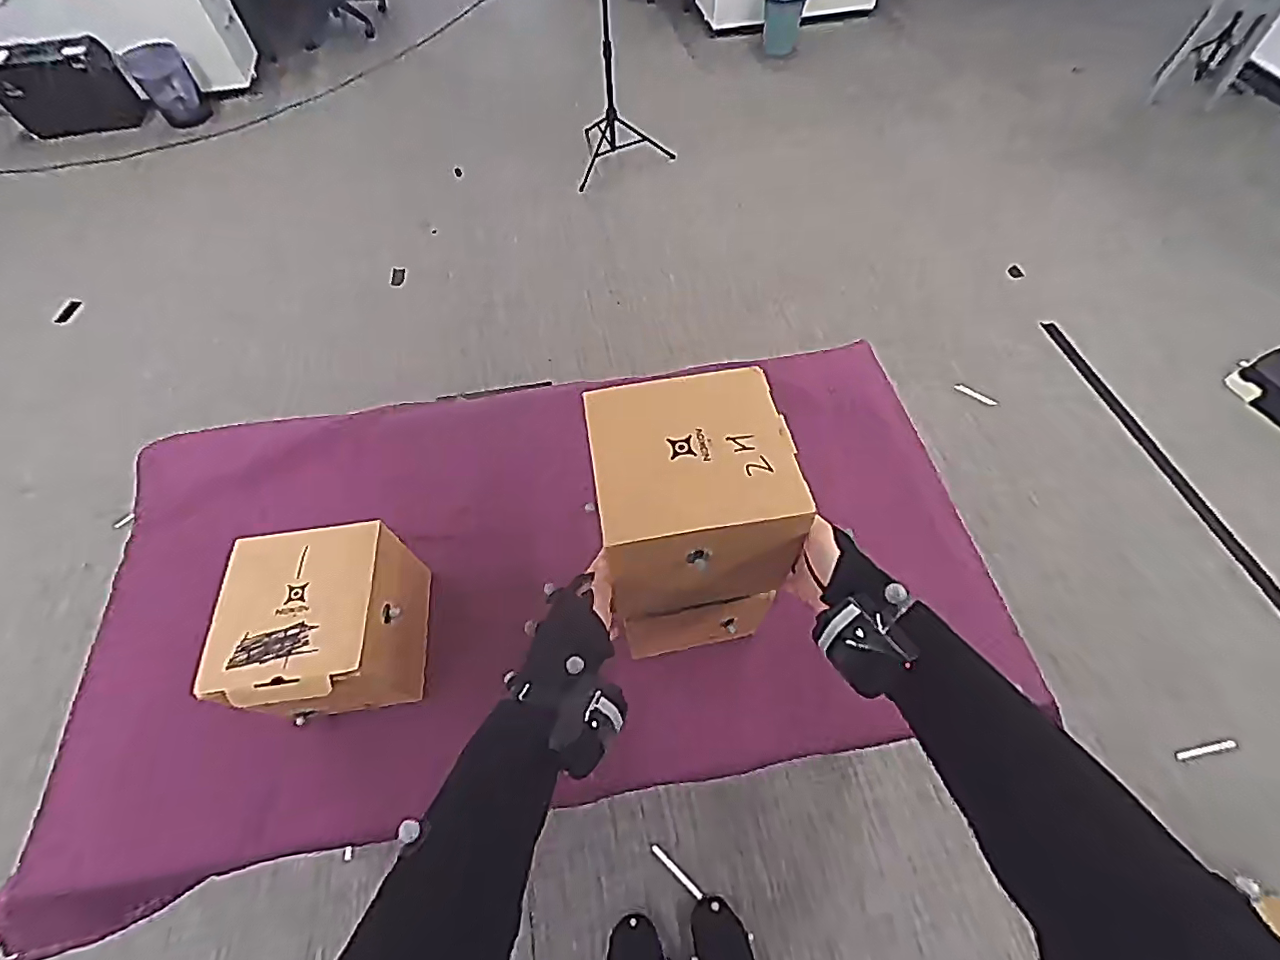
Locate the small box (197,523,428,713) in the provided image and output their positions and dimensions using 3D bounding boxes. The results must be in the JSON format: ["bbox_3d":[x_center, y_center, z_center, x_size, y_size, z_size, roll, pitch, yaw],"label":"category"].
[{"bbox_3d":[-0.368,0.173,0.650,0.168,0.176,0.179,-7,59,-3],"label":"small box"}]

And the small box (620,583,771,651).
[{"bbox_3d":[0.049,0.104,0.679,0.168,0.176,0.179,-10,59,-5],"label":"small box"}]

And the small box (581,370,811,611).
[{"bbox_3d":[0.044,0.018,0.536,0.179,0.176,0.168,-8,58,-4],"label":"small box"}]
